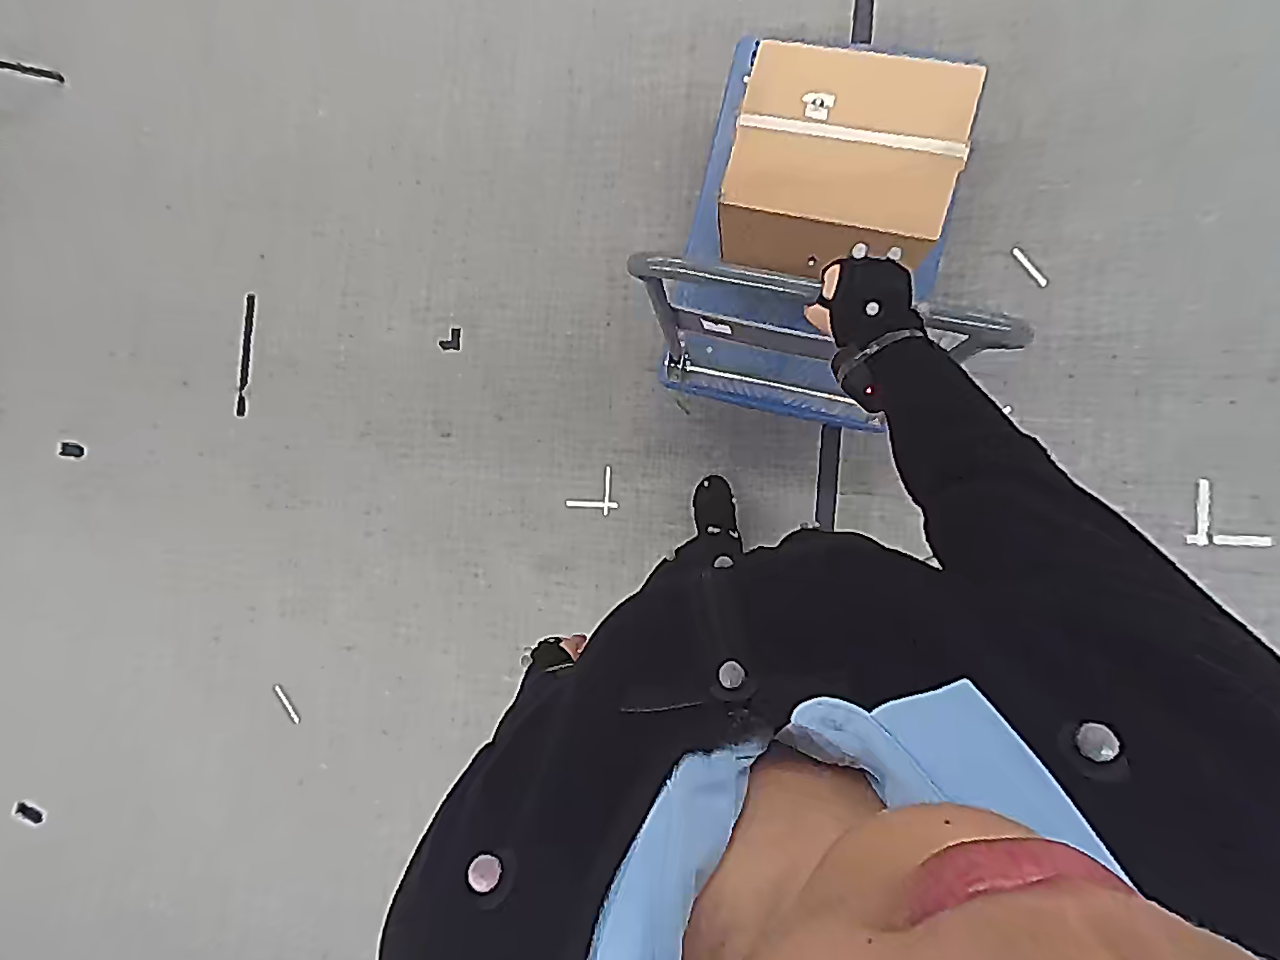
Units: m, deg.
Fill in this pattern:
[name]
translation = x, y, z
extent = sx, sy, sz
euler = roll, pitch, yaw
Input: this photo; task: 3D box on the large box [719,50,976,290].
[large box]
translation = 0.408, -0.632, 1.149
extent = 0.408, 0.320, 0.320
euler = 15, 92, 11
